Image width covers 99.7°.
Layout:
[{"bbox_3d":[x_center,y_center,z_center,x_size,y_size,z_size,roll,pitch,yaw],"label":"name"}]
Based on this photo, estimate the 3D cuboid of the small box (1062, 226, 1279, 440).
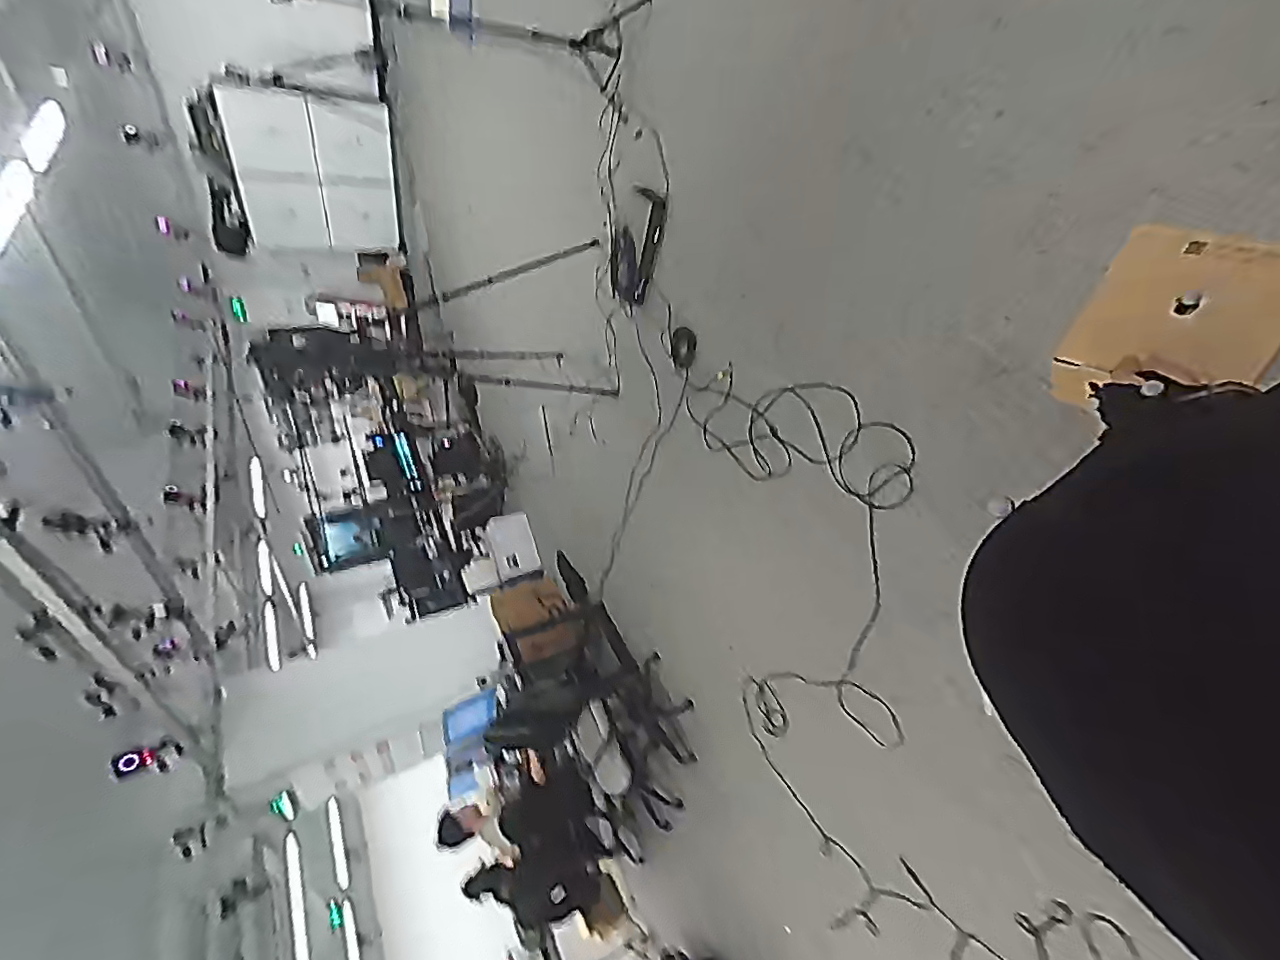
[{"bbox_3d":[0.632,-0.170,0.631,0.168,0.179,0.176,35,103,38],"label":"small box"}]
